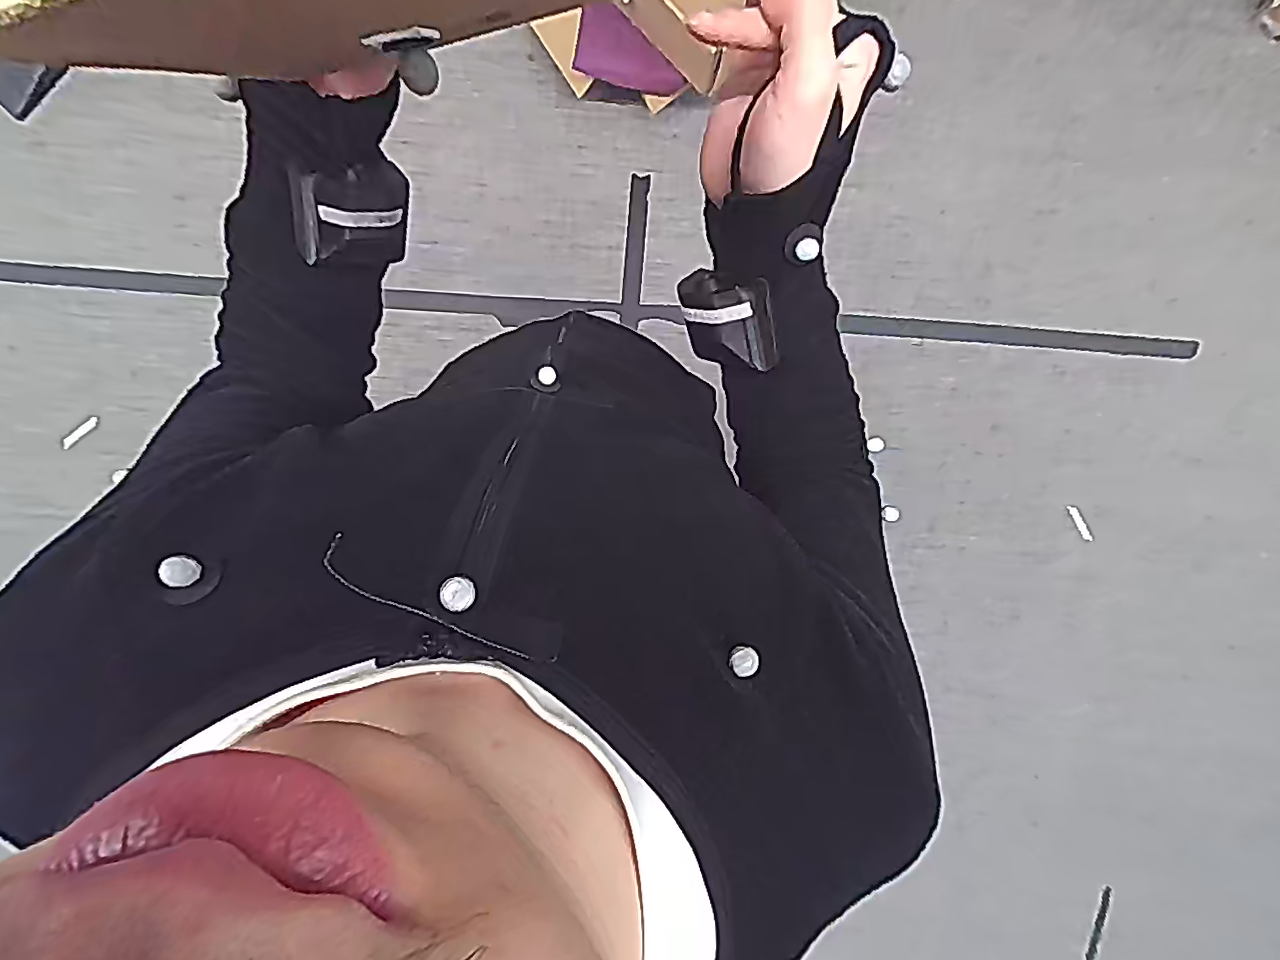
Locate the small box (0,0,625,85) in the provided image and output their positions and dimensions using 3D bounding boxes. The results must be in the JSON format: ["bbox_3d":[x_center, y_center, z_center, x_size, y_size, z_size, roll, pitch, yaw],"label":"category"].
[{"bbox_3d":[-0.105,-0.230,0.145,0.168,0.176,0.179,-4,124,12],"label":"small box"}]
